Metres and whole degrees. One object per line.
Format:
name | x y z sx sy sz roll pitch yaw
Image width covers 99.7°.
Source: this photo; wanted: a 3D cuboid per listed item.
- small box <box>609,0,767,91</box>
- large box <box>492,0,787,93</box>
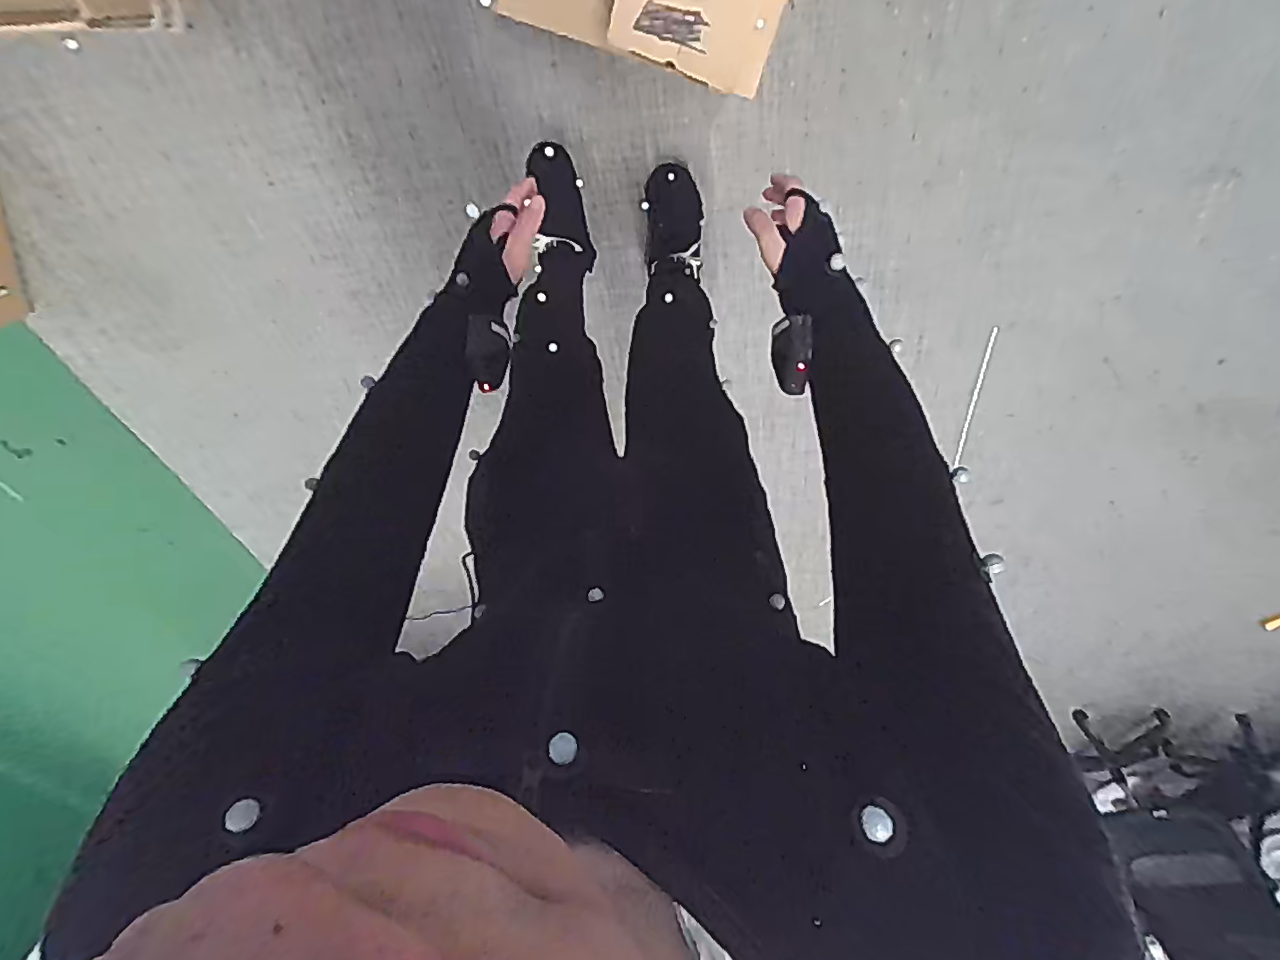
small box | 0.071 -0.617 0.656 0.168 0.176 0.179 15 132 -11
large box | 0.029 -0.829 0.798 0.408 0.320 0.320 13 131 -8
